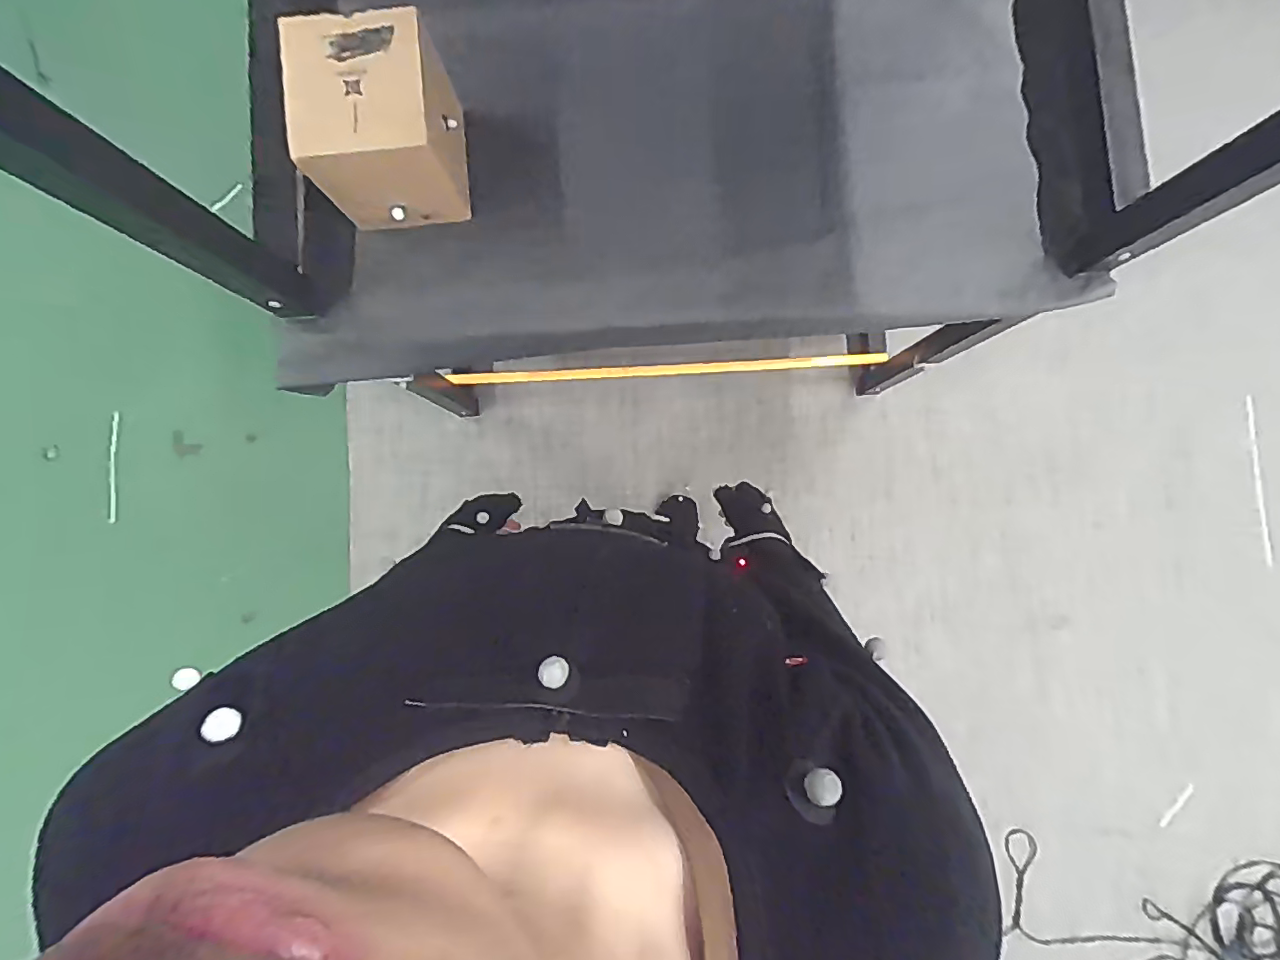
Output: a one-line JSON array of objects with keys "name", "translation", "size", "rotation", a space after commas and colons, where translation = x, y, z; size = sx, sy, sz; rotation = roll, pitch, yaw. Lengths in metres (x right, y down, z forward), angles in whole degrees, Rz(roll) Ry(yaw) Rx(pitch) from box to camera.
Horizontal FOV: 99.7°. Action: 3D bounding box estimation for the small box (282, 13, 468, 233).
[{"name": "small box", "translation": [-0.339, -0.459, 0.719], "size": [0.168, 0.176, 0.179], "rotation": [-6, 87, 0]}]
